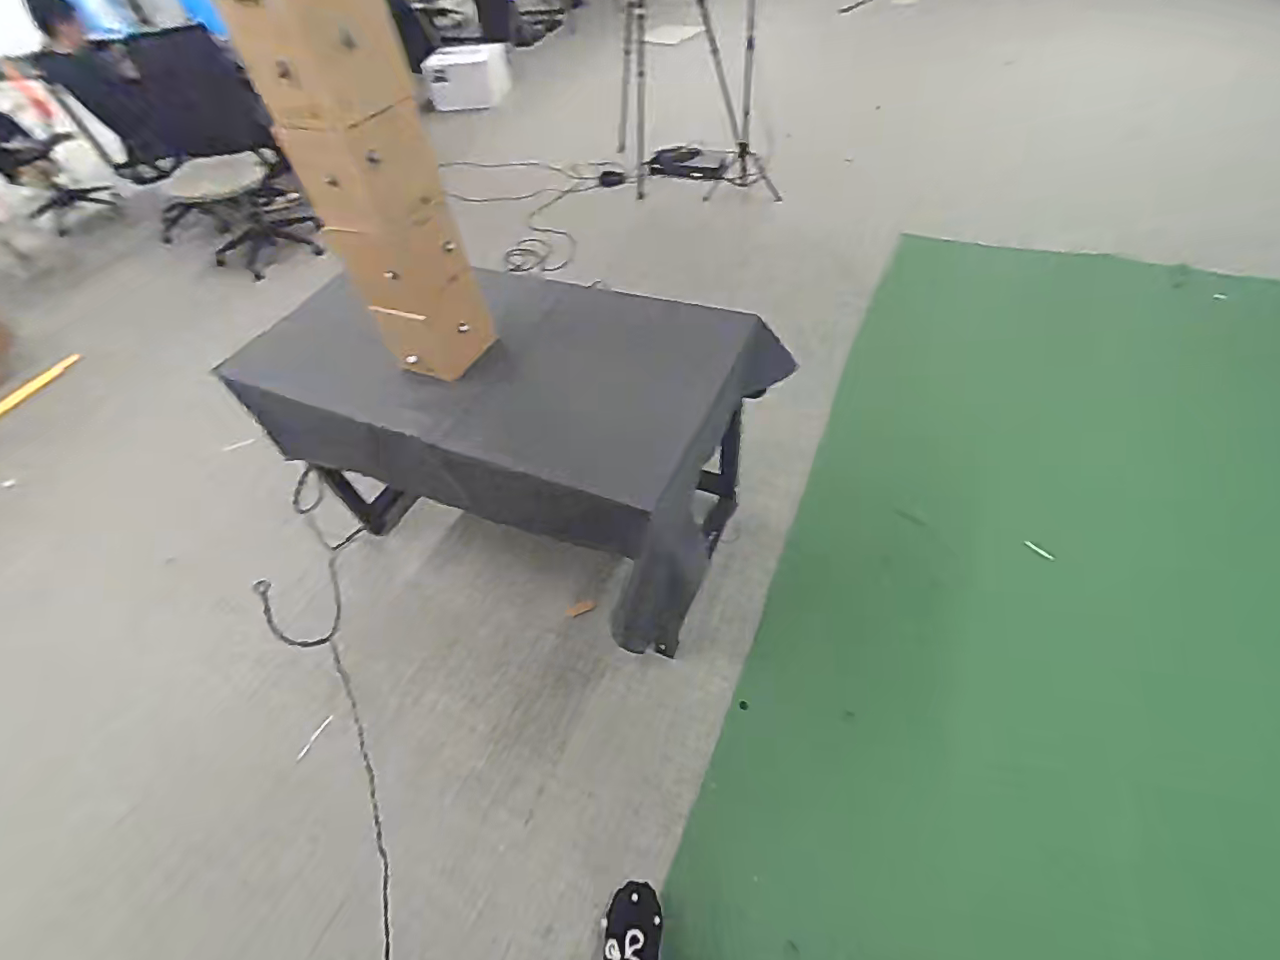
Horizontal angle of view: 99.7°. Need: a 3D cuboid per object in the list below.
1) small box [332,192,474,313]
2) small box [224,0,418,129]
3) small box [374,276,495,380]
[{"bbox_3d":[-0.472,-0.465,1.111,0.179,0.176,0.168,15,53,19],"label":"small box"},{"bbox_3d":[-0.497,-0.690,0.874,0.168,0.176,0.179,16,54,20],"label":"small box"},{"bbox_3d":[-0.454,-0.358,1.233,0.168,0.176,0.179,17,55,21],"label":"small box"}]
